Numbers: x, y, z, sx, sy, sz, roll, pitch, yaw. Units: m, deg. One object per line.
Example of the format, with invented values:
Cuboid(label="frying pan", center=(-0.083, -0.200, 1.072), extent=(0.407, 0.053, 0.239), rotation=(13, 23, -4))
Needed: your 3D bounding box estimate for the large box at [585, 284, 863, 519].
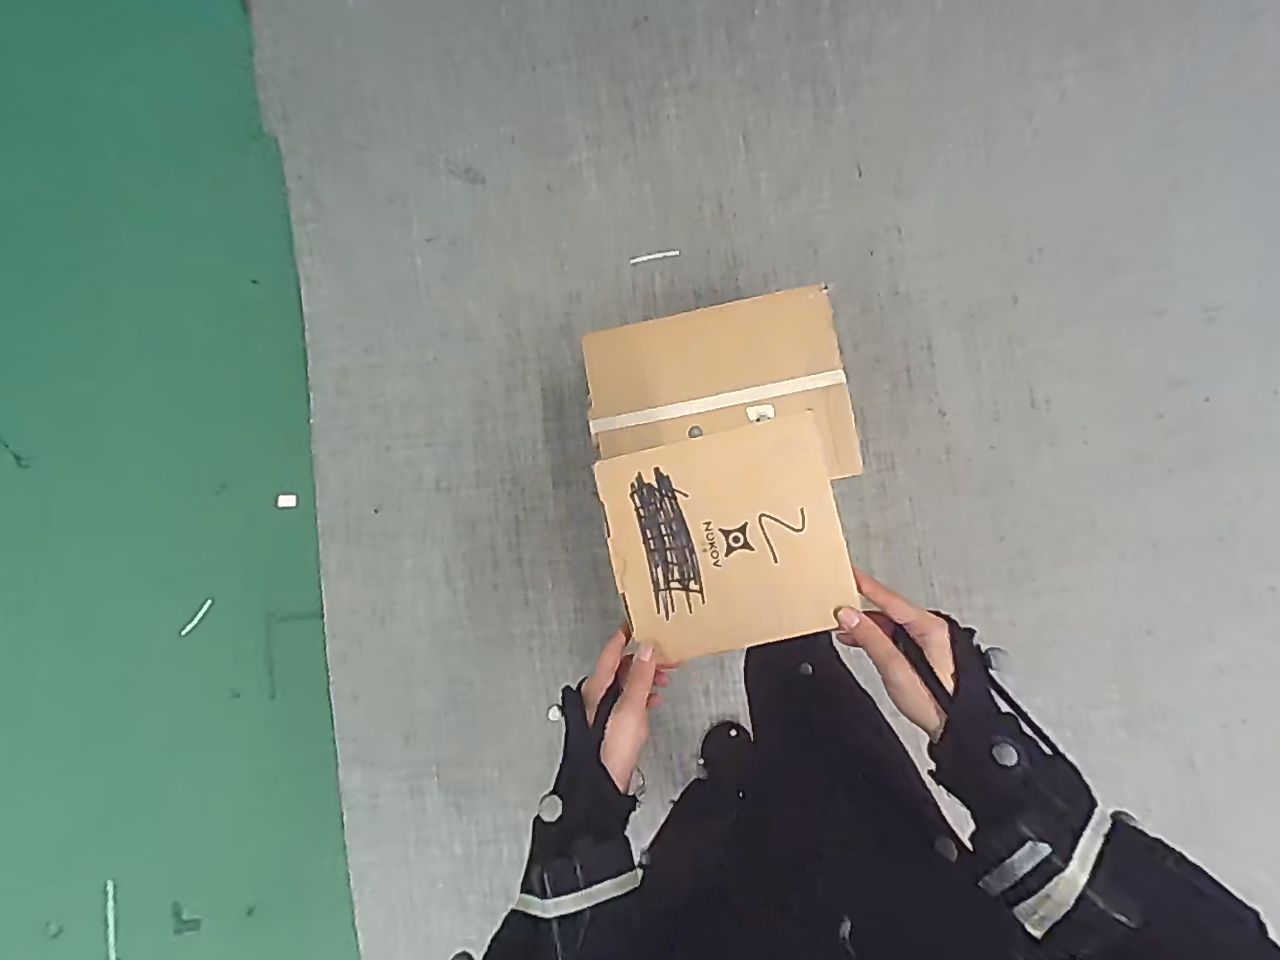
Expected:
Cuboid(label="large box", center=(0.144, -0.117, 1.017), extent=(0.408, 0.320, 0.320), rotation=(-11, 87, 7))
